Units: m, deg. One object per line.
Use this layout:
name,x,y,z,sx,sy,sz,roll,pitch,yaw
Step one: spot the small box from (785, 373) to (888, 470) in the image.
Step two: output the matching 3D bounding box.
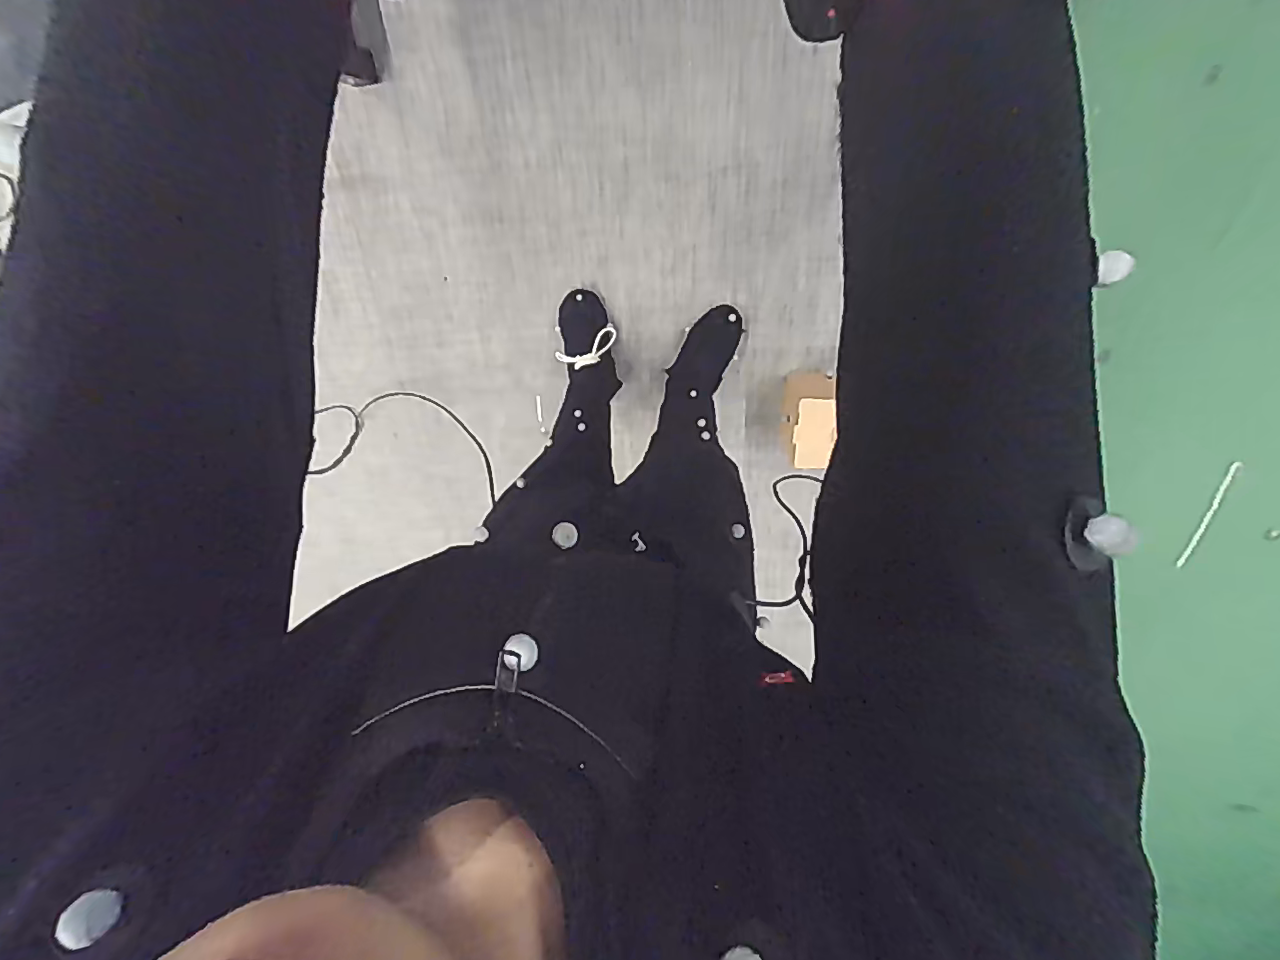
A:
small box,0.425,-0.134,1.204,0.179,0.176,0.168,0,120,6
